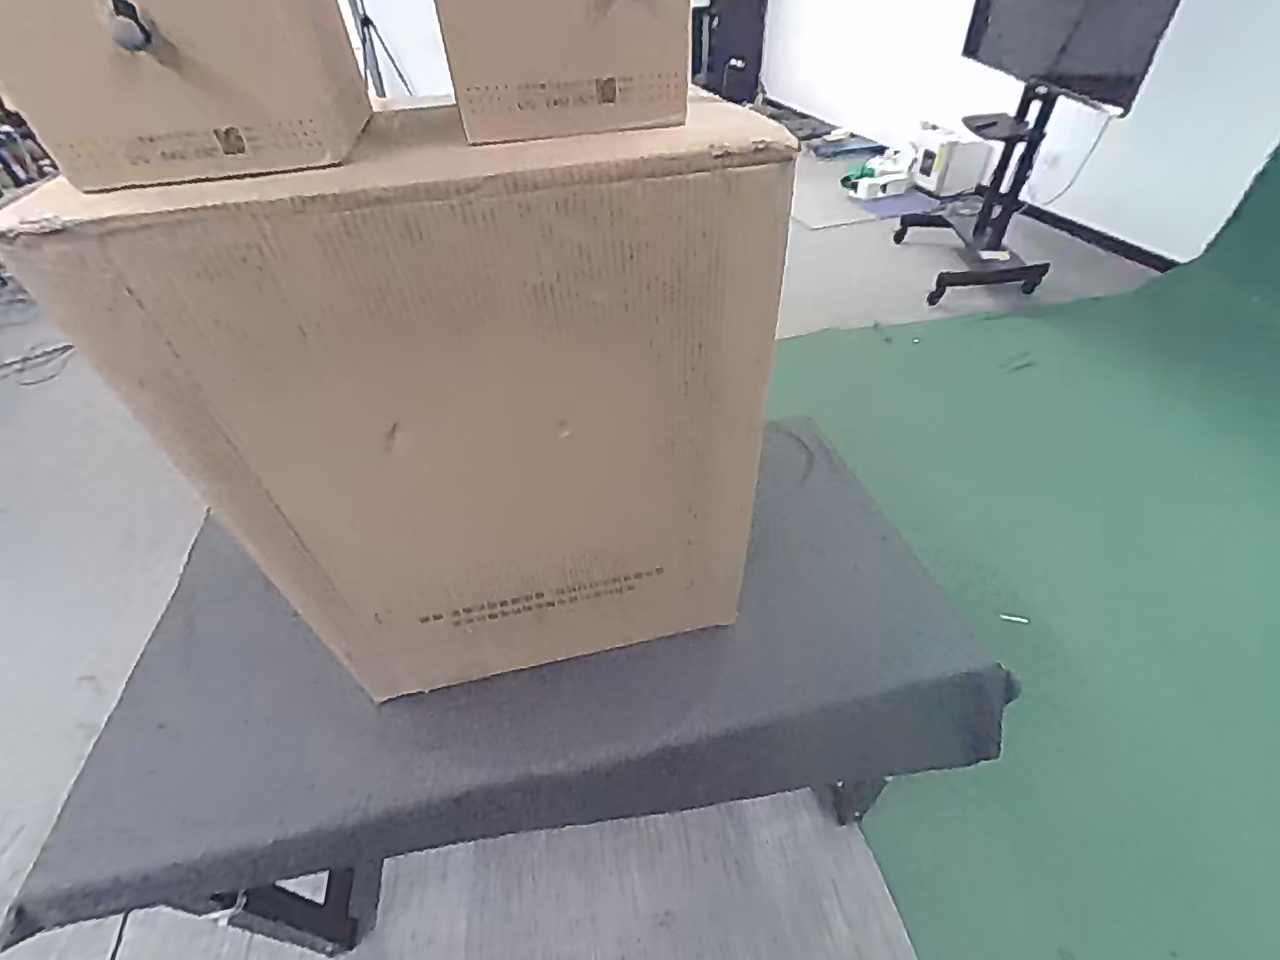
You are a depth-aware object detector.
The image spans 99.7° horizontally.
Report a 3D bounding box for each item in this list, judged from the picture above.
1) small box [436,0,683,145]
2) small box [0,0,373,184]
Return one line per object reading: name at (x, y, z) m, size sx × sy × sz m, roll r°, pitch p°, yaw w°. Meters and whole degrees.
small box at (-0.065, -0.364, 0.409) m, size 0.168 × 0.176 × 0.179 m, roll -9°, pitch 44°, yaw -9°
small box at (-0.300, -0.312, 0.362) m, size 0.168 × 0.176 × 0.179 m, roll -10°, pitch 46°, yaw -7°
